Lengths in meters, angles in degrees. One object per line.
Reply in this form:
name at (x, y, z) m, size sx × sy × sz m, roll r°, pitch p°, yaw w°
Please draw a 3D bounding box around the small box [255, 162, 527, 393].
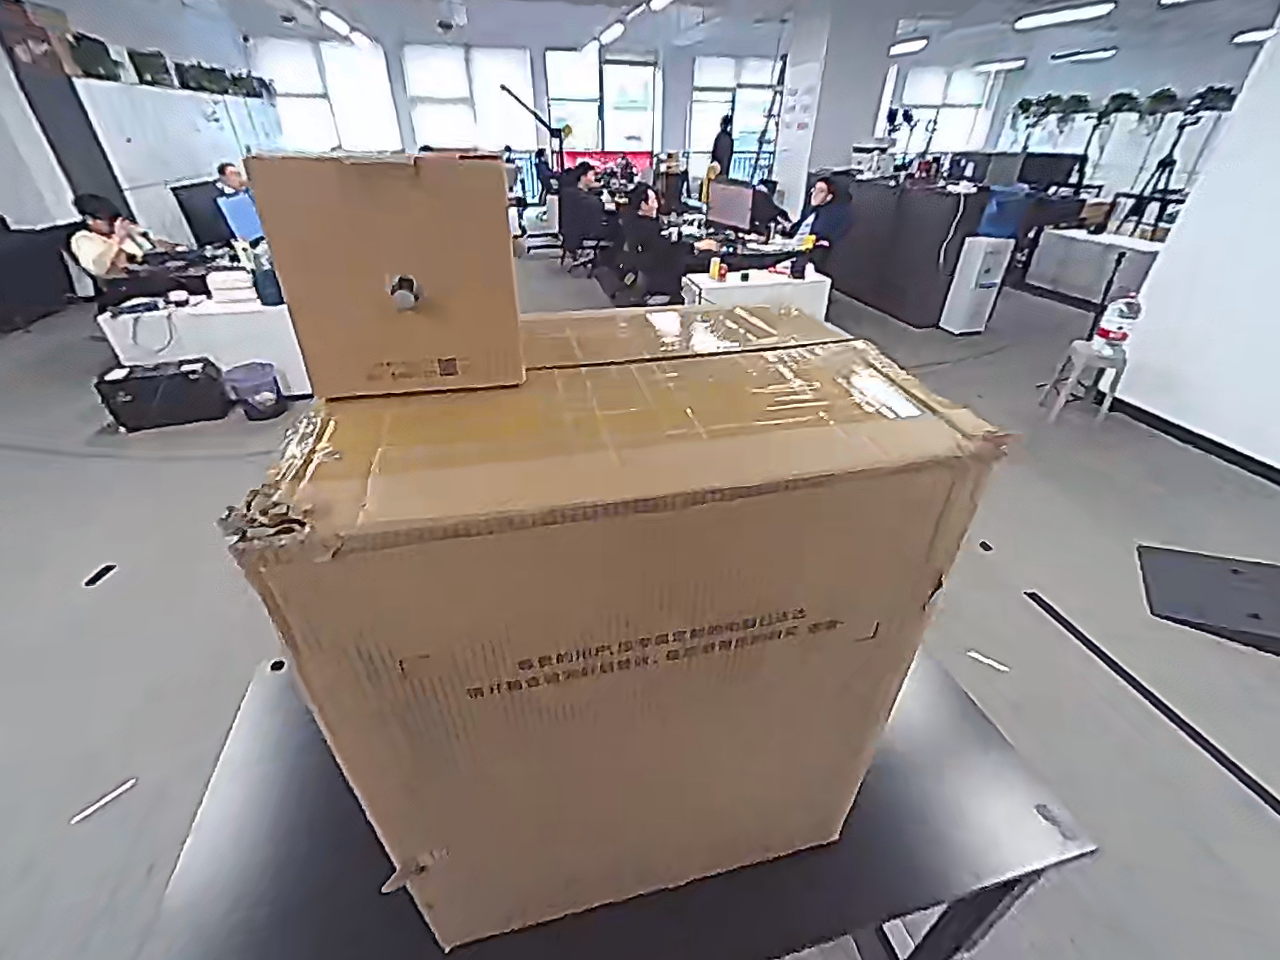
small box at (-0.195, -0.182, 0.481) m, size 0.168 × 0.176 × 0.179 m, roll -6°, pitch 32°, yaw -12°
